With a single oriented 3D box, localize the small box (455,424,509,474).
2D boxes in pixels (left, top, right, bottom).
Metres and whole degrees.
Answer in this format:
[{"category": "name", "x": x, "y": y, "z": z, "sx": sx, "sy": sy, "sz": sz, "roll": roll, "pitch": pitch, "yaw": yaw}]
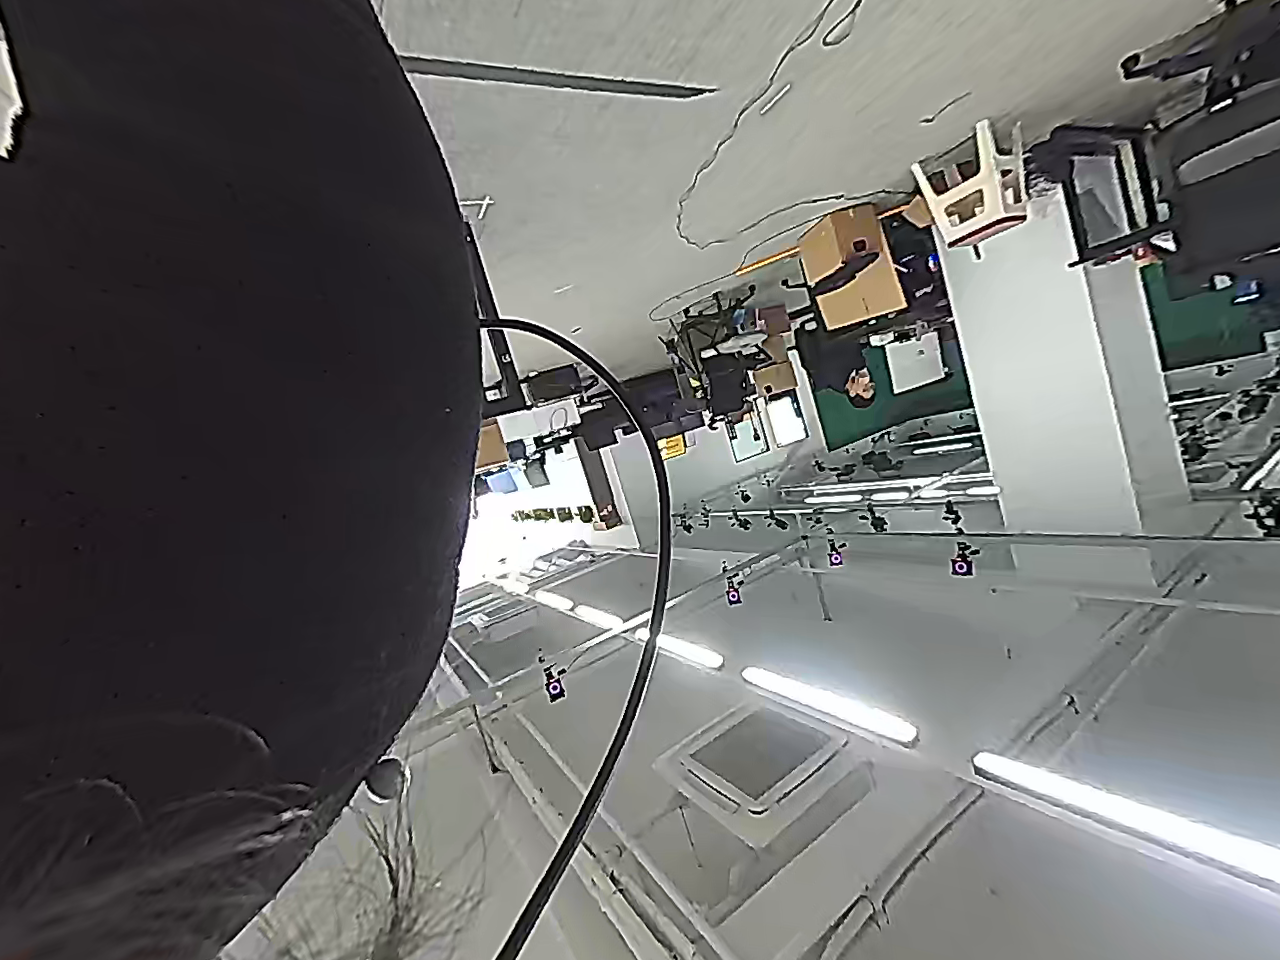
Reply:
[{"category": "small box", "x": -0.677, "y": -0.133, "z": 2.299, "sx": 0.168, "sy": 0.176, "sz": 0.179, "roll": -18, "pitch": -175, "yaw": -26}]
